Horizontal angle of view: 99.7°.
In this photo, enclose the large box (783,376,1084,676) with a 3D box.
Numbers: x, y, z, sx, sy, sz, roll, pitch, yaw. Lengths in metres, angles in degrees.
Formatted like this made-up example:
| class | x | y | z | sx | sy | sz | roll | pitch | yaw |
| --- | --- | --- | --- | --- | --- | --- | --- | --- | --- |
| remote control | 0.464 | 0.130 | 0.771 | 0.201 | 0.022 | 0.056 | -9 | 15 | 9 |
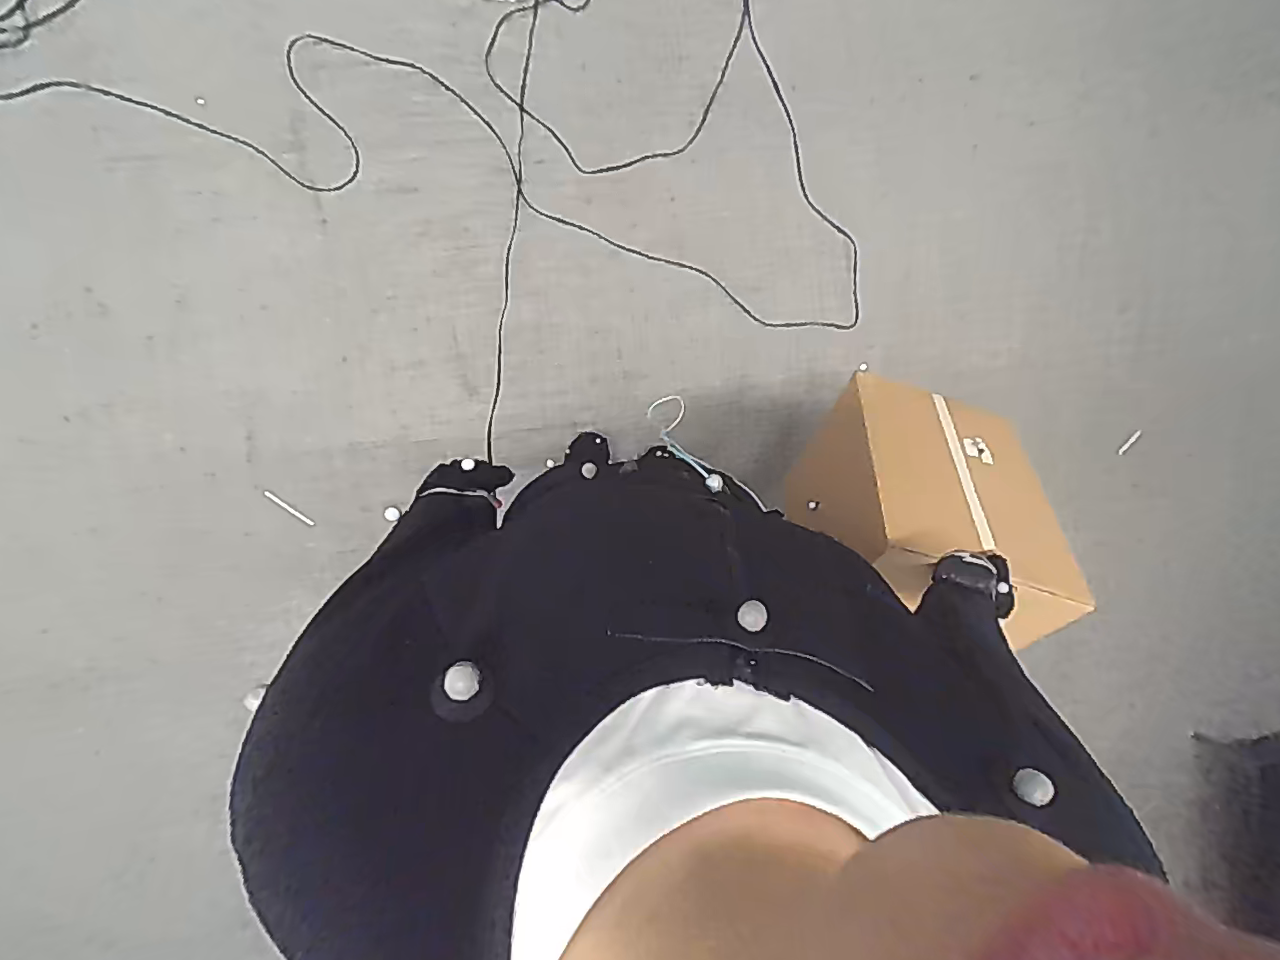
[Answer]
| class | x | y | z | sx | sy | sz | roll | pitch | yaw |
| --- | --- | --- | --- | --- | --- | --- | --- | --- | --- |
| large box | 0.471 | 0.084 | 0.986 | 0.320 | 0.408 | 0.320 | 16 | 137 | -5 |
